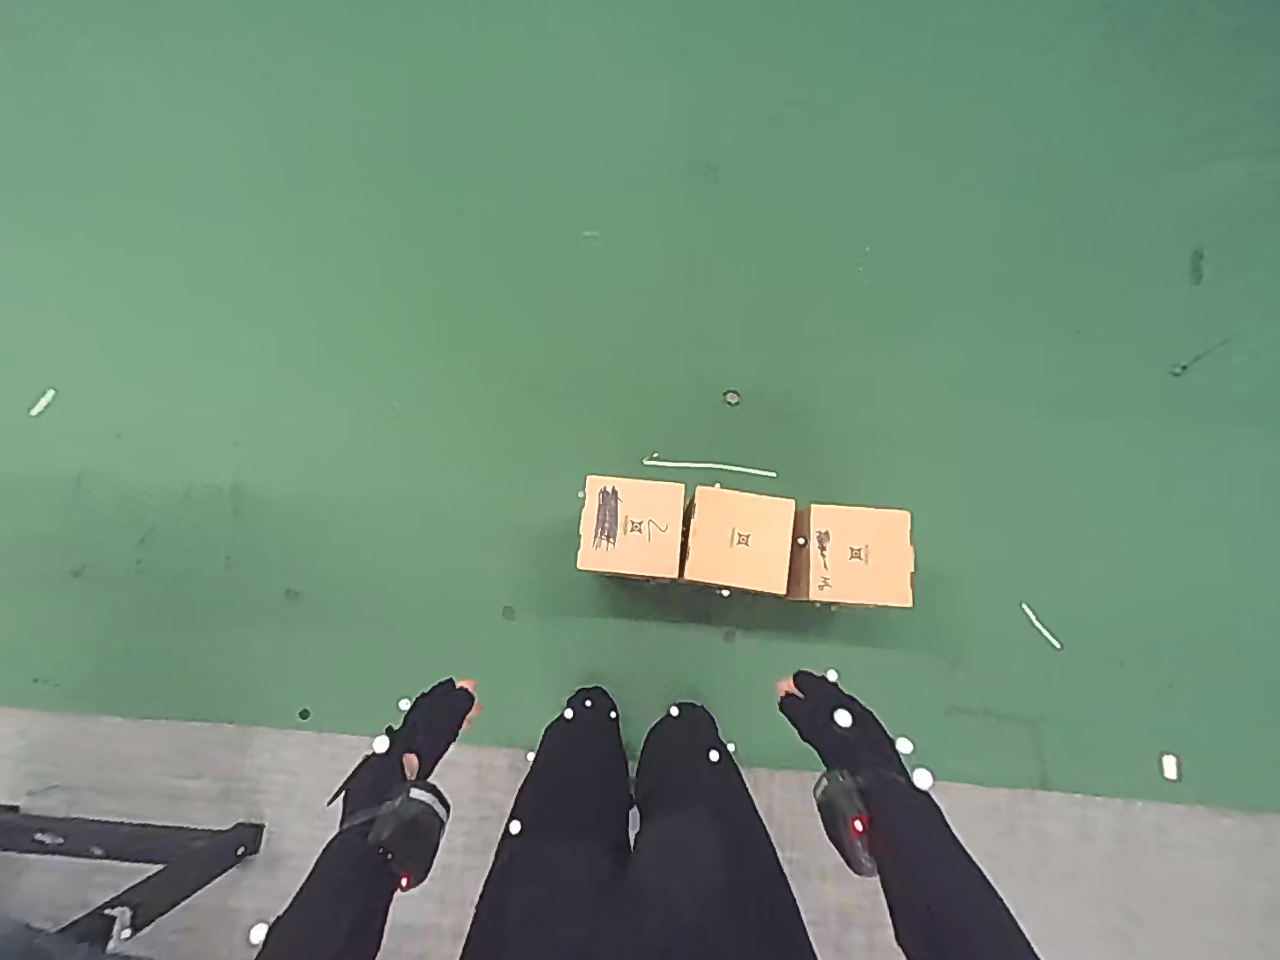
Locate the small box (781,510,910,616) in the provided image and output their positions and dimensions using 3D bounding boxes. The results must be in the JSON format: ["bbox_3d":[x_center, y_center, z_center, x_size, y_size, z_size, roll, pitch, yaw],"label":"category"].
[{"bbox_3d":[0.372,0.155,0.999,0.179,0.176,0.168,5,78,1],"label":"small box"}]
